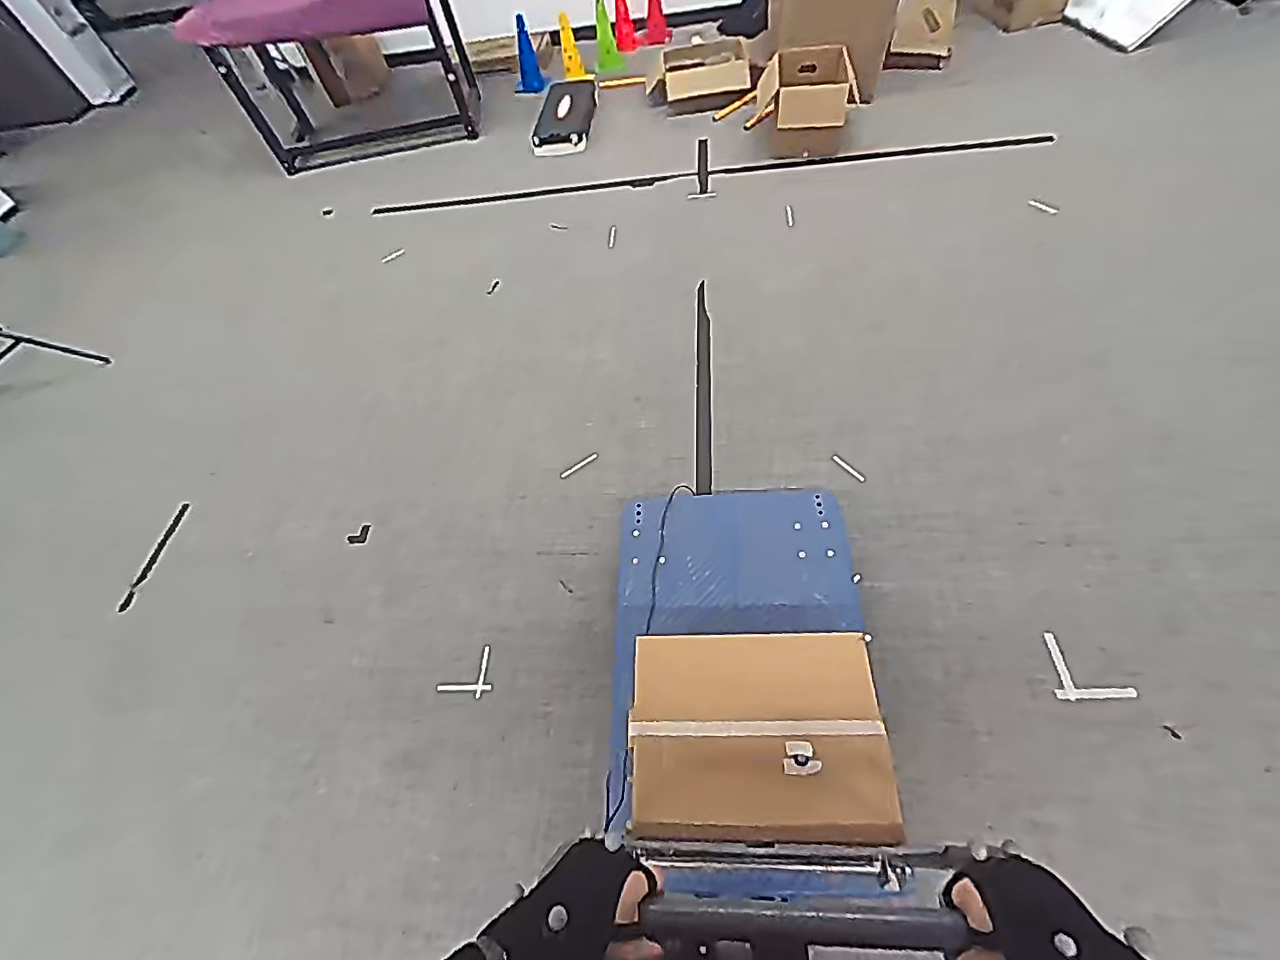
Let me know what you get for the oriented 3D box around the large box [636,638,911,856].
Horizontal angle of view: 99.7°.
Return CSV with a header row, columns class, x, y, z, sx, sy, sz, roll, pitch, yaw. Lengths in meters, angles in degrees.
class,x,y,z,sx,sy,sz,roll,pitch,yaw
large box,0.206,0.495,0.990,0.408,0.320,0.320,-3,57,6
